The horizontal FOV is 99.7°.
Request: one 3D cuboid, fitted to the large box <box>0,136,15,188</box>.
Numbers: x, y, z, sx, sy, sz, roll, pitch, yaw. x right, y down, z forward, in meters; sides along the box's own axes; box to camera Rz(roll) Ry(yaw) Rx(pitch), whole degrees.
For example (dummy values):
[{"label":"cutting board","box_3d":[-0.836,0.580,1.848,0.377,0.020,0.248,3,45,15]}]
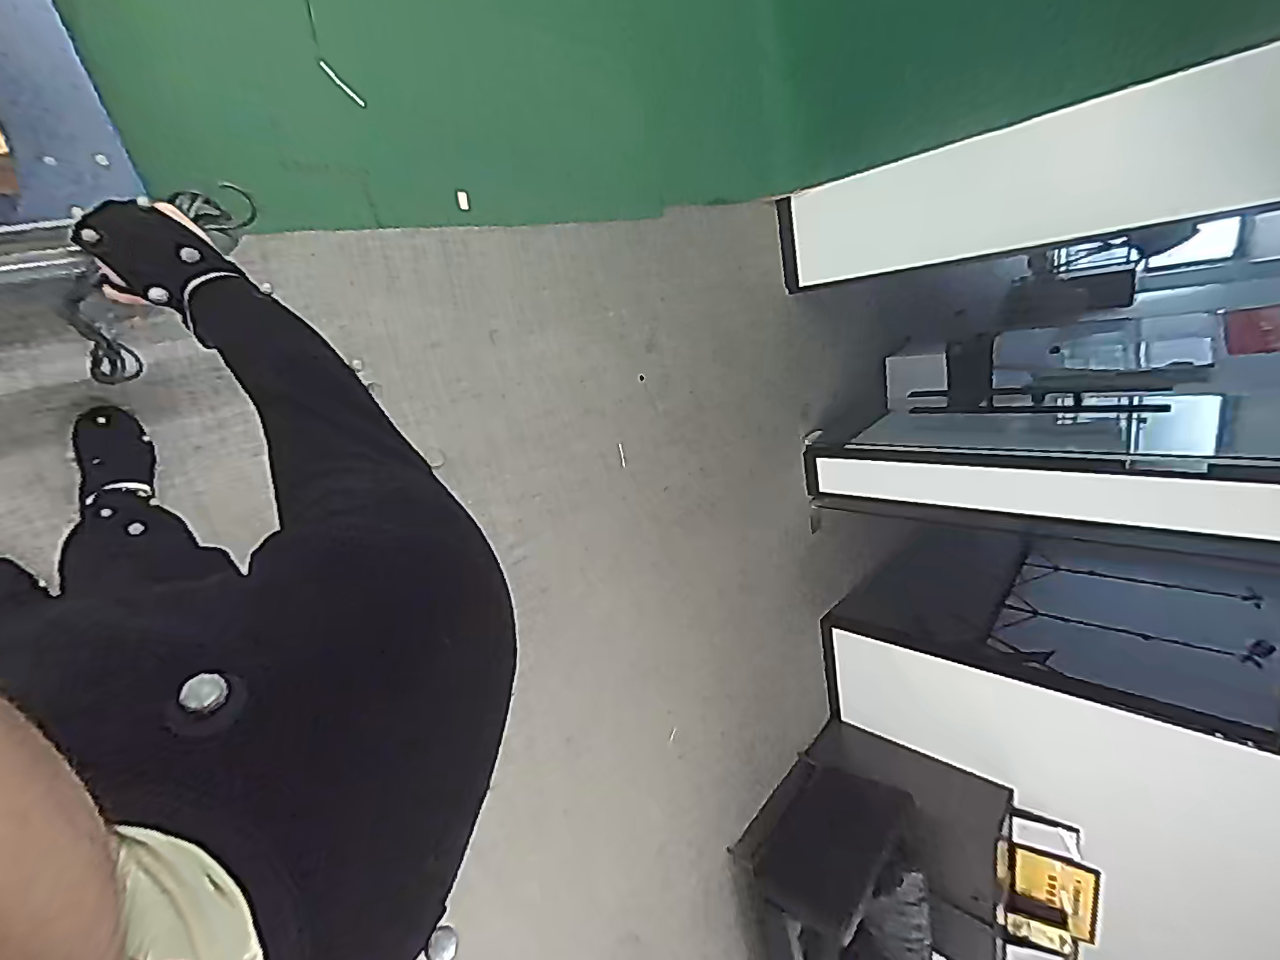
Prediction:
[{"label":"large box","box_3d":[-1.072,-0.582,0.635,0.320,0.320,0.408,-29,121,-40]}]
